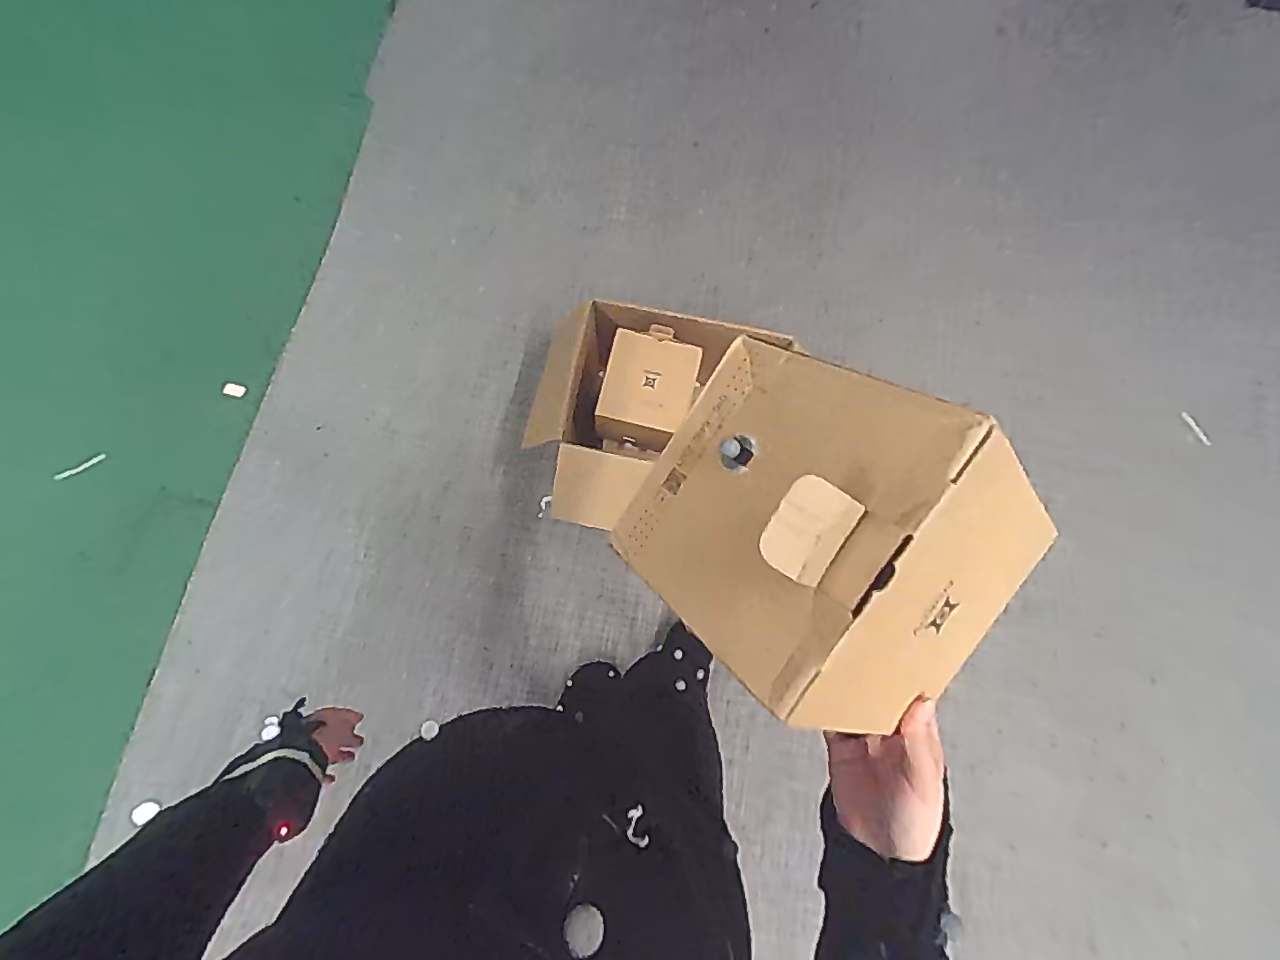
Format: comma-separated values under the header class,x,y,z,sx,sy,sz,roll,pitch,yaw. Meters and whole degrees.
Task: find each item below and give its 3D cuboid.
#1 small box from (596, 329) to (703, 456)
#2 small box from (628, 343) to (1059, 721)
class,x,y,z,sx,sy,sz,roll,pitch,yaw
small box,0.012,-0.163,1.060,0.168,0.176,0.179,14,79,-1
small box,0.127,0.030,0.360,0.168,0.179,0.176,-57,41,5
